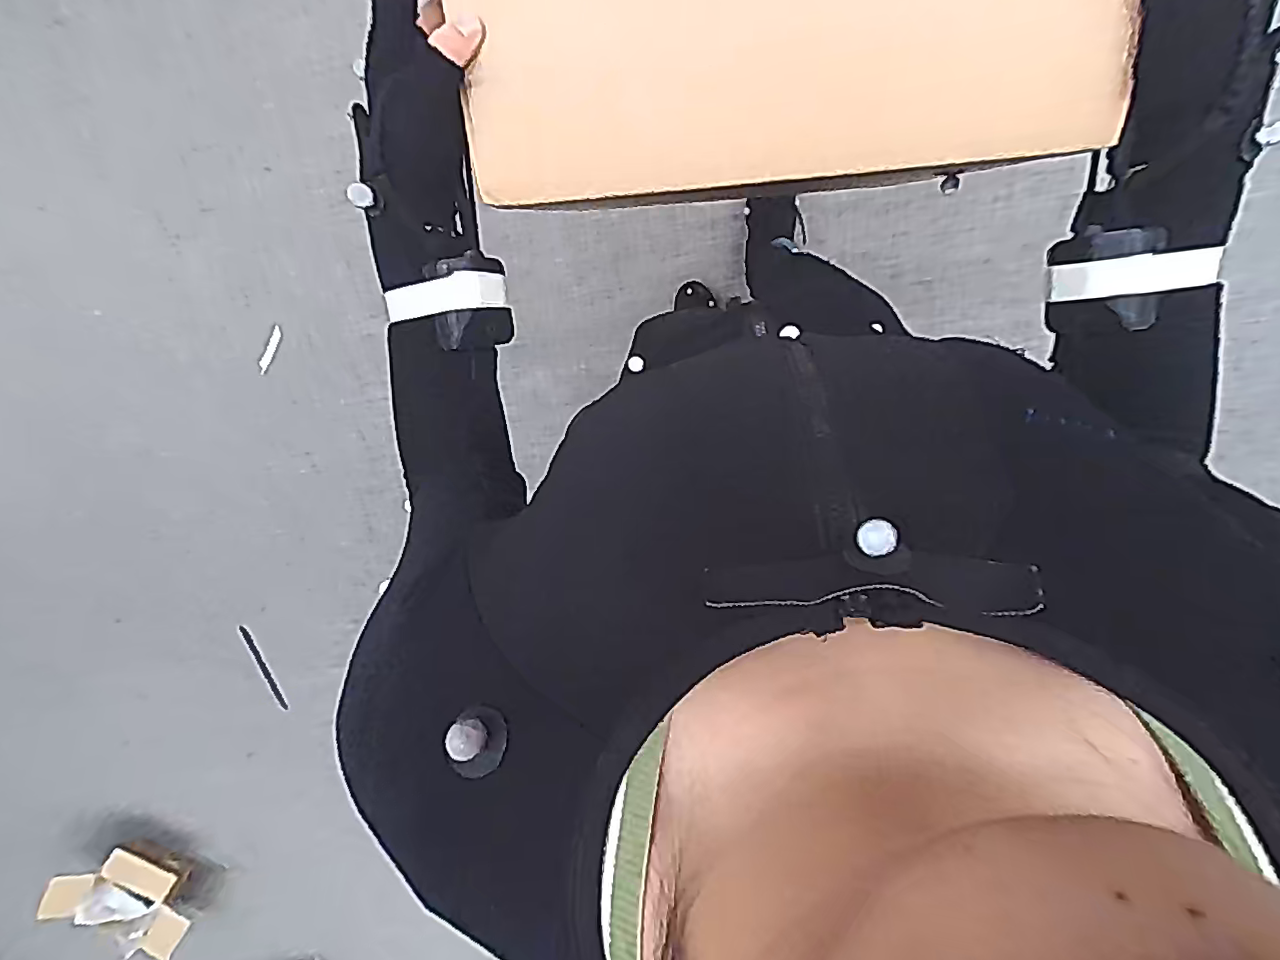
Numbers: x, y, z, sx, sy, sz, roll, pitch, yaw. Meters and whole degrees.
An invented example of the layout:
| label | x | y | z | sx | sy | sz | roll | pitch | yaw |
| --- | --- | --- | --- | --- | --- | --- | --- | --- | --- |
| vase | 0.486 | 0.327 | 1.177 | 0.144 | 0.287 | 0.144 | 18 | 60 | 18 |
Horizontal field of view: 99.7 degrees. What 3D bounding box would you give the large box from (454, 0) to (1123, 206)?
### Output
| label | x | y | z | sx | sy | sz | roll | pitch | yaw |
| --- | --- | --- | --- | --- | --- | --- | --- | --- | --- |
| large box | 0.090 | -0.408 | 0.431 | 0.408 | 0.320 | 0.320 | -2 | 115 | 5 |
